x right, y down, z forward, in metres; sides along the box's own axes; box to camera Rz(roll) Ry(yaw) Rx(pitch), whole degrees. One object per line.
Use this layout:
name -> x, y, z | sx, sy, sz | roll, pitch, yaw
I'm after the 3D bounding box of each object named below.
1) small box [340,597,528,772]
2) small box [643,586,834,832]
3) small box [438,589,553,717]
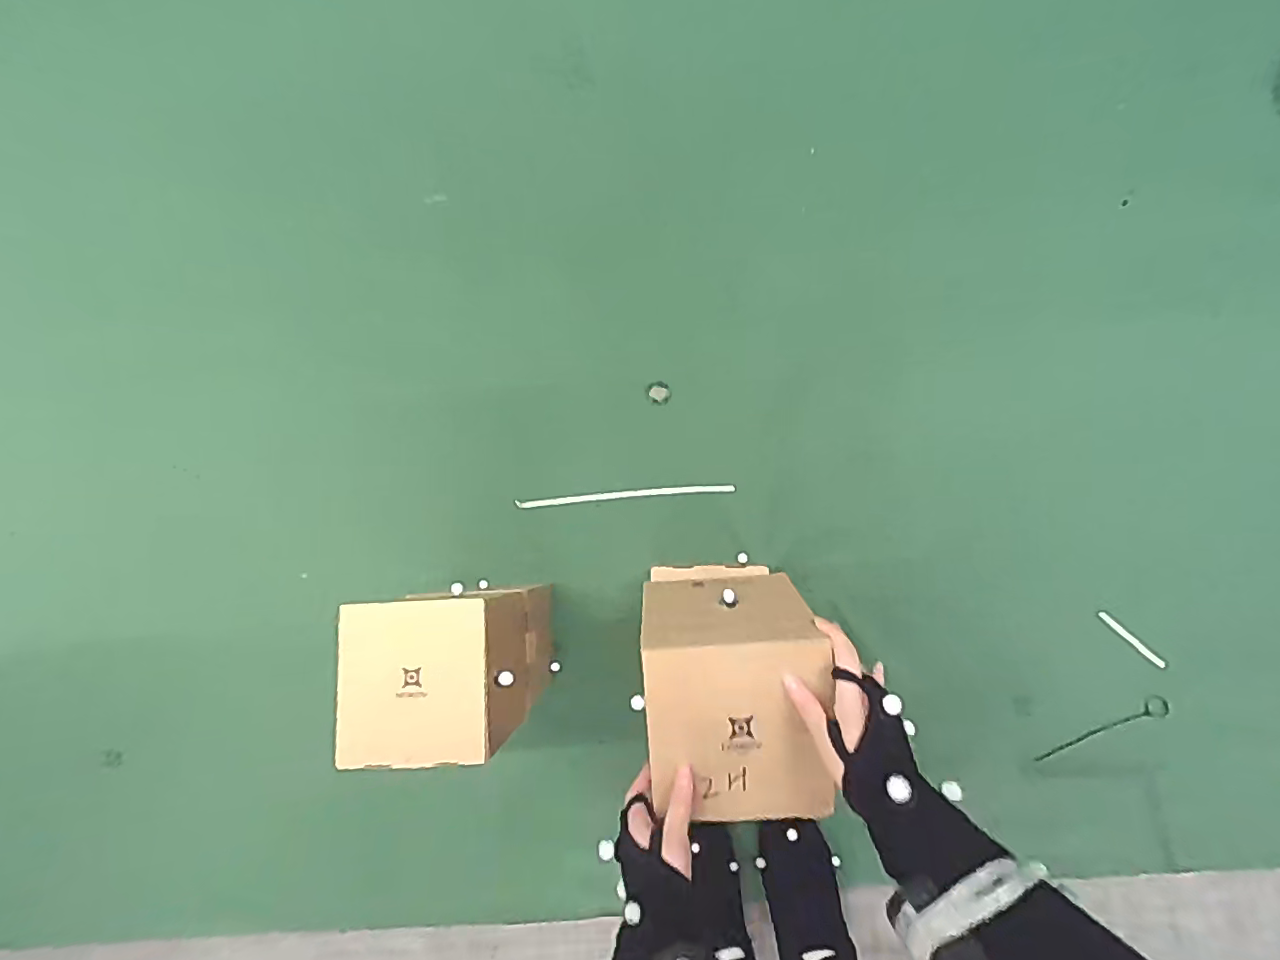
small box -> -0.241, 0.238, 0.671 | 0.168, 0.176, 0.179 | -4, 81, 3
small box -> 0.090, 0.216, 0.552 | 0.168, 0.176, 0.179 | -4, 101, 3
small box -> -0.233, 0.259, 0.832 | 0.179, 0.176, 0.168 | -4, 81, 4
